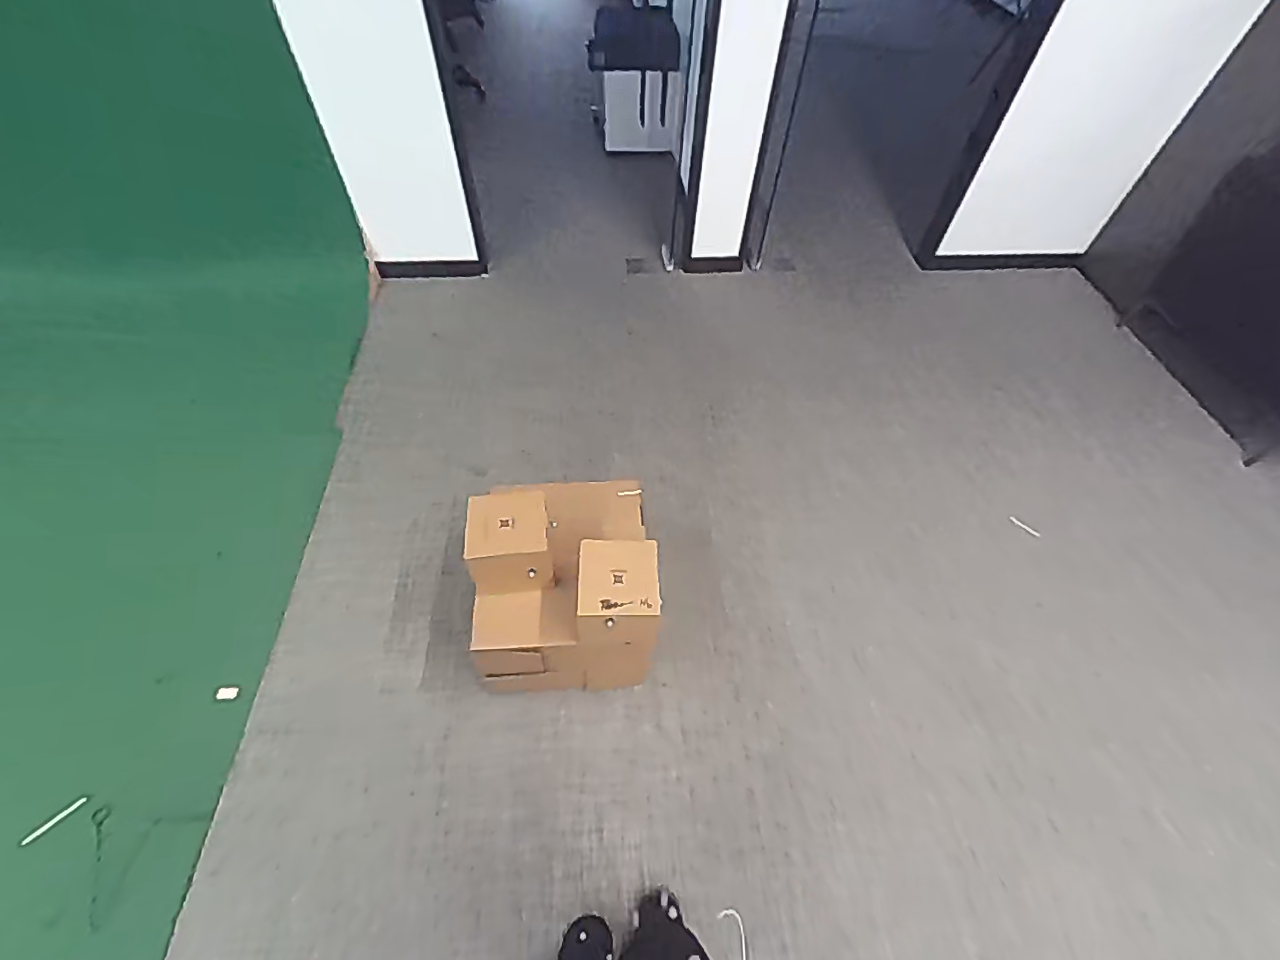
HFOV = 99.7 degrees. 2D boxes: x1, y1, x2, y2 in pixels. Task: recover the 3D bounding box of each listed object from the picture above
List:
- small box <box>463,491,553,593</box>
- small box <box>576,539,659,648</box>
[{"bbox_3d":[-0.293,0.145,1.242,0.179,0.176,0.168,-5,51,-5],"label":"small box"},{"bbox_3d":[-0.049,0.247,1.170,0.168,0.176,0.179,1,51,-3],"label":"small box"}]
